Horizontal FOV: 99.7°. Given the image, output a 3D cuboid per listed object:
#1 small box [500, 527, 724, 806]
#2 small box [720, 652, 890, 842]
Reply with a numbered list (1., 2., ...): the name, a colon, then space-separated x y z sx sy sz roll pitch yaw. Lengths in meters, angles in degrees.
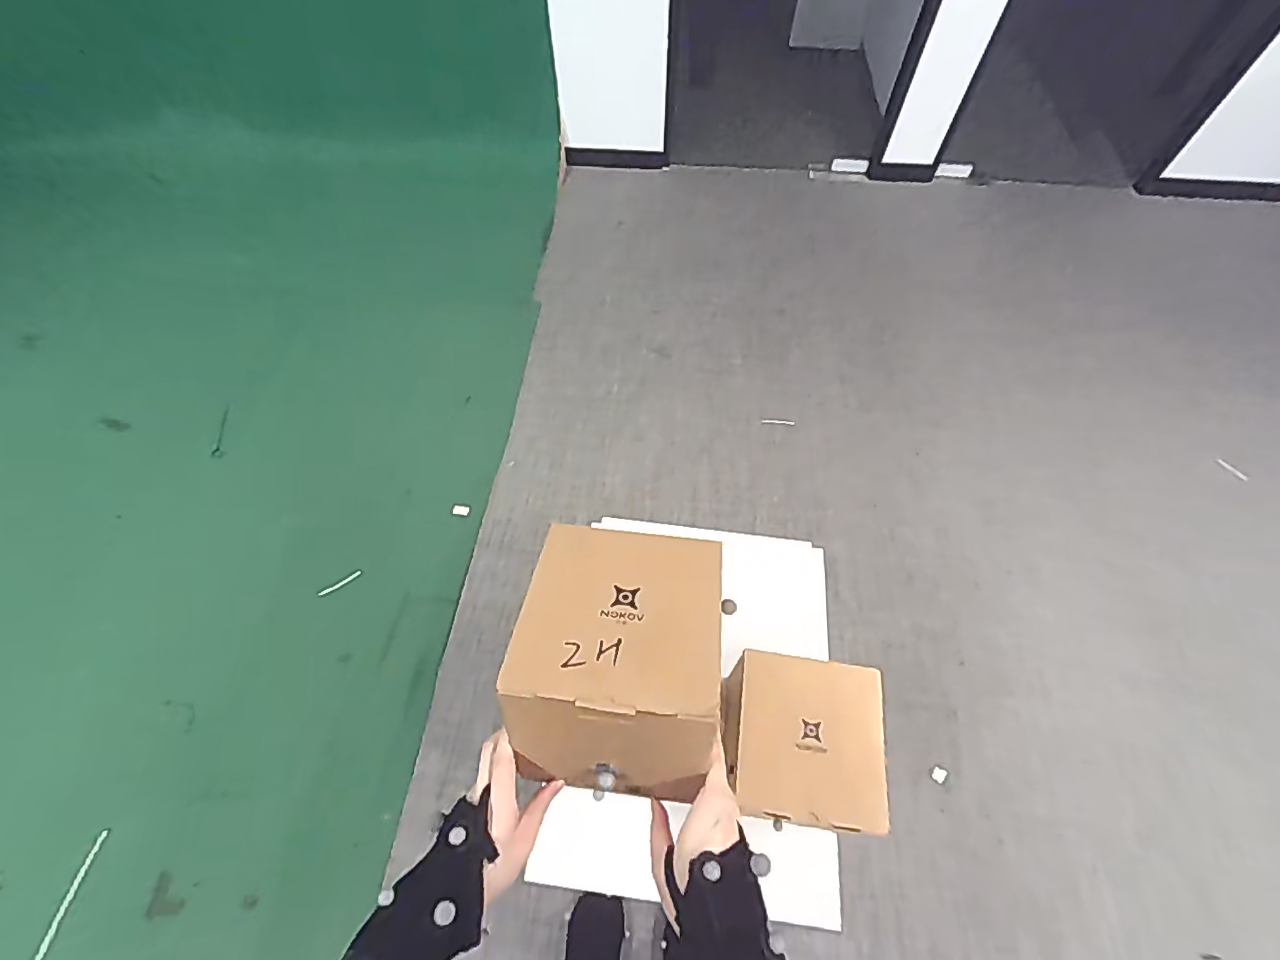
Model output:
1. small box: -0.015 0.170 0.506 0.168 0.176 0.179 5 42 5
2. small box: 0.196 0.336 0.684 0.168 0.176 0.179 7 60 5
